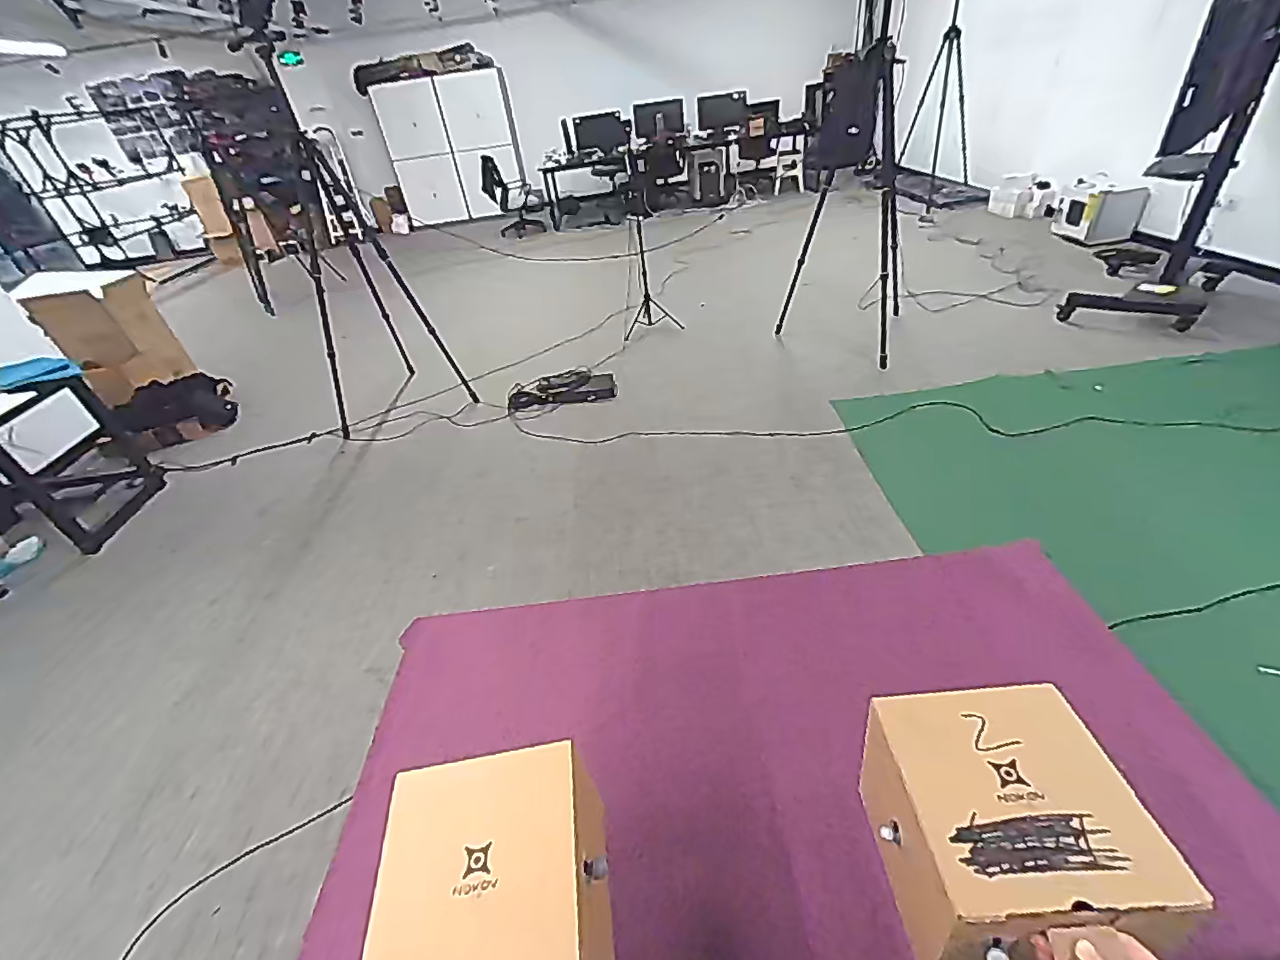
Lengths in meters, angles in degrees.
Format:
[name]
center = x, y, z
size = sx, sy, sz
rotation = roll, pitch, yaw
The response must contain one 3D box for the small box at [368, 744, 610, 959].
[small box]
center = -0.125, 0.381, 0.505
size = 0.168, 0.176, 0.179
rotation = -11, 43, -1
